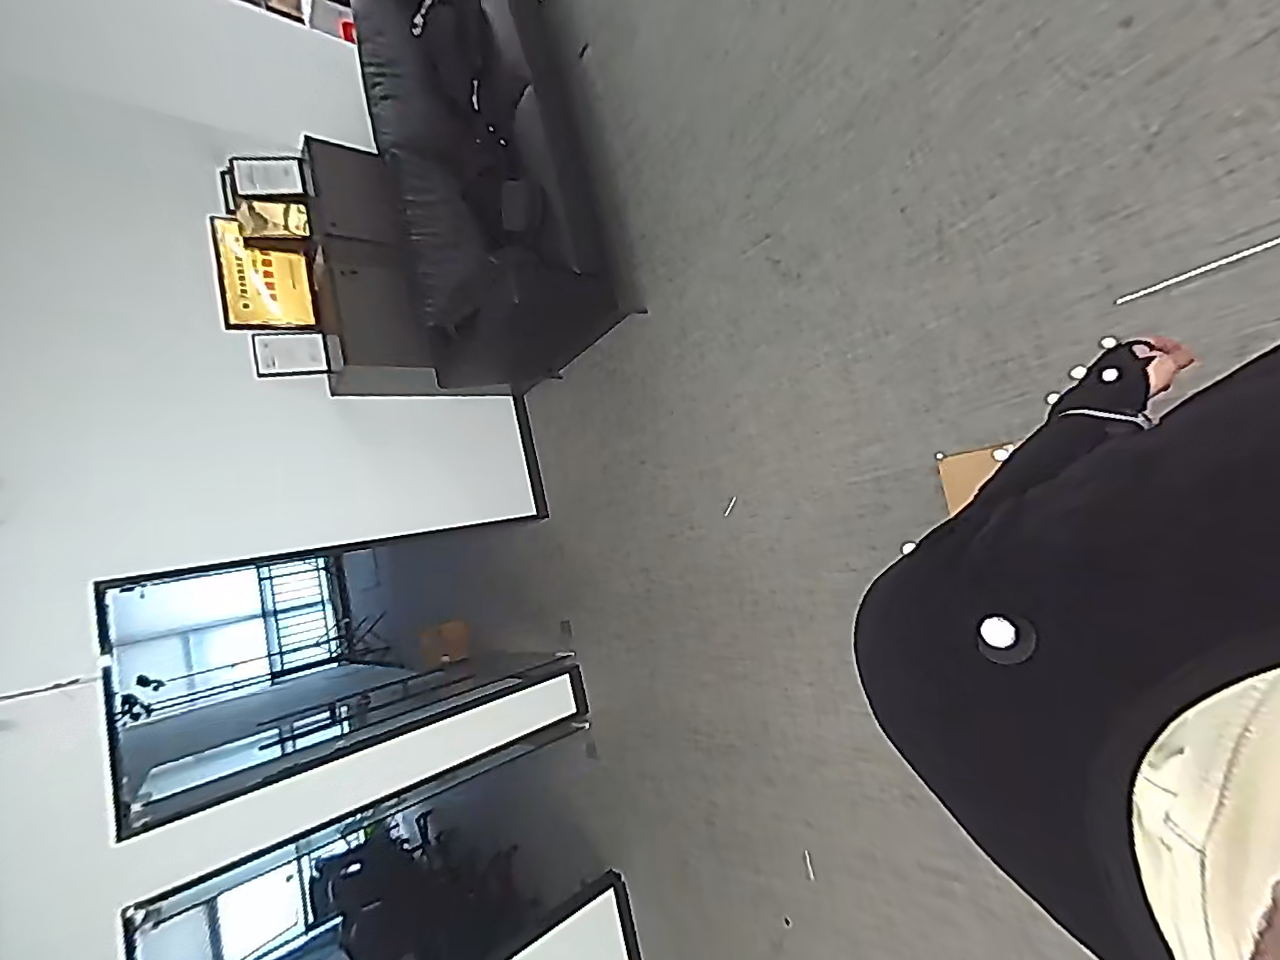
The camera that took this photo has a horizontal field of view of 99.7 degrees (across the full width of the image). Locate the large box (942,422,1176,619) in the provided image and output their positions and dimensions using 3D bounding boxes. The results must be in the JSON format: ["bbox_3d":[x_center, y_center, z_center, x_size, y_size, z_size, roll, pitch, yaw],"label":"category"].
[{"bbox_3d":[0.985,0.096,1.281,0.320,0.320,0.408,-17,82,50],"label":"large box"}]
